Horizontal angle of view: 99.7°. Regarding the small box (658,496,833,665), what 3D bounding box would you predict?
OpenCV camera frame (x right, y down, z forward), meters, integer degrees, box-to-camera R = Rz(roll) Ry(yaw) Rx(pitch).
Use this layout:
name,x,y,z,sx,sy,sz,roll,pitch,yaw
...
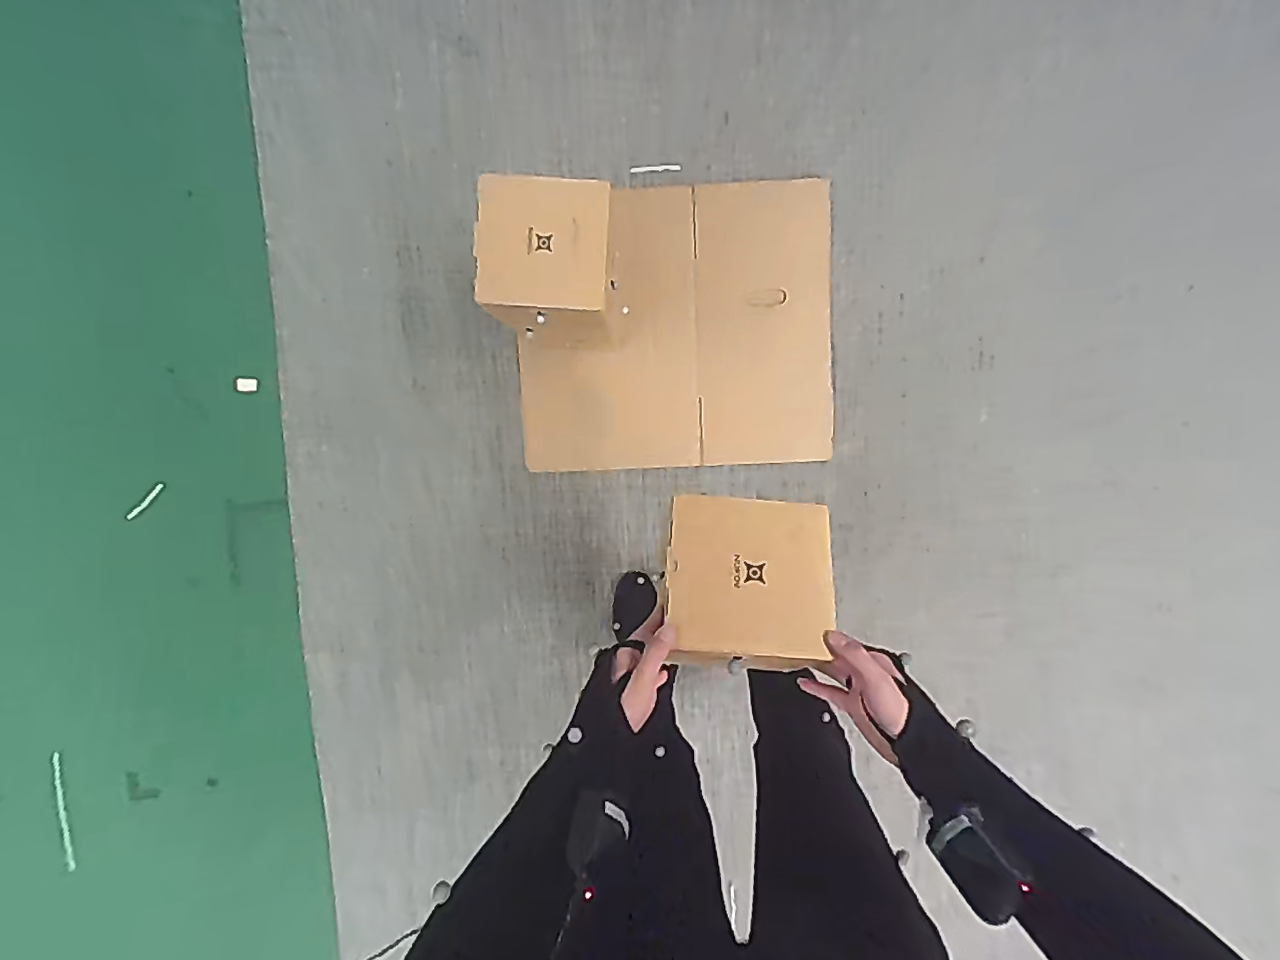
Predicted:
name,x,y,z,sx,sy,sz,roll,pitch,yaw
small box,0.115,0.129,0.651,0.179,0.176,0.168,3,68,2

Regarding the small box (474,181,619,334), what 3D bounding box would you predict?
name,x,y,z,sx,sy,sz,roll,pitch,yaw
small box,-0.128,-0.313,0.793,0.179,0.176,0.168,4,97,1
